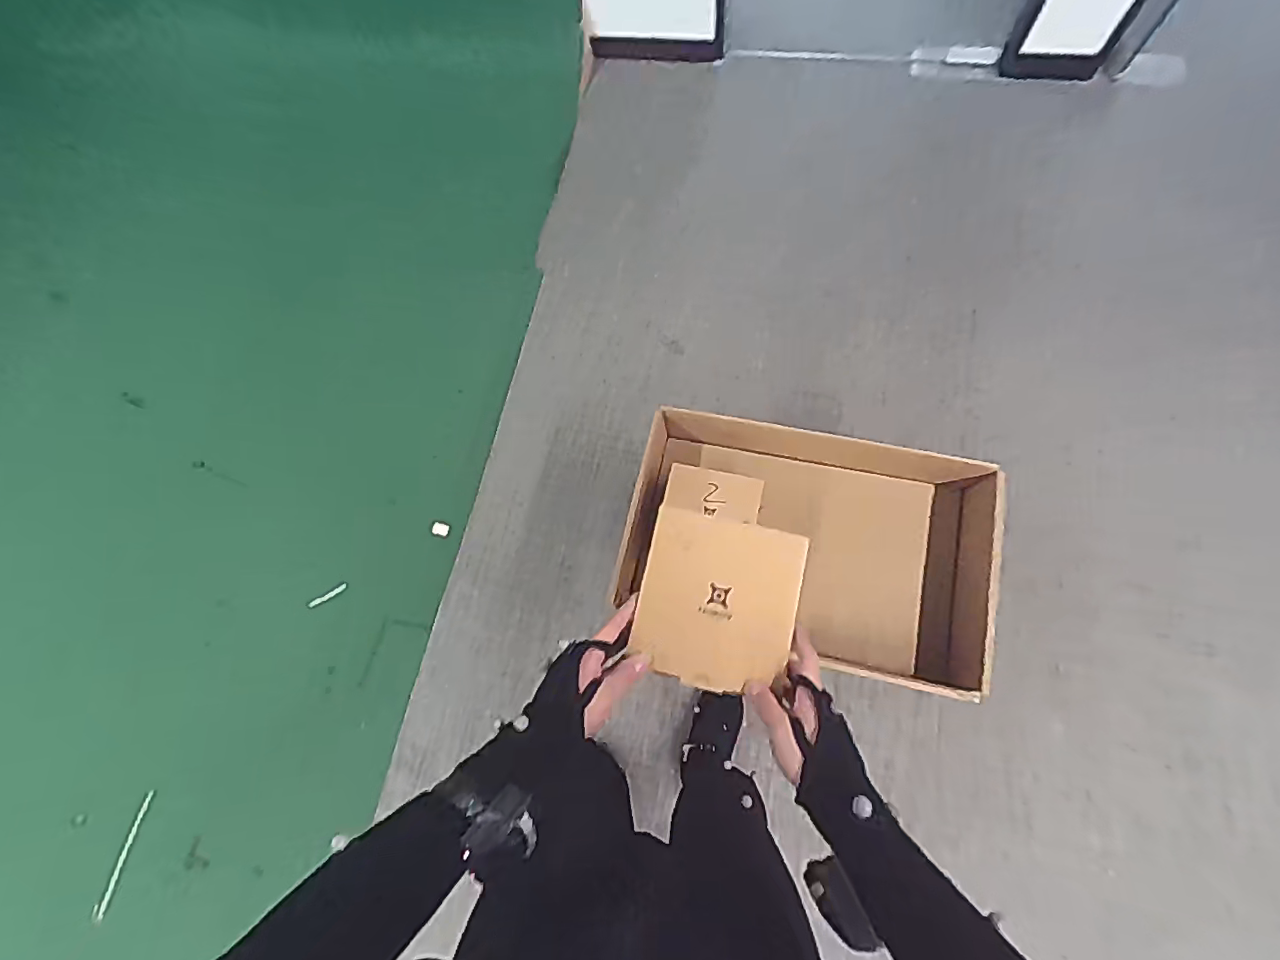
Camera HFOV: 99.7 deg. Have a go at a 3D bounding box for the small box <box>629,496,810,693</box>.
[{"bbox_3d":[0.088,0.134,0.648,0.168,0.176,0.179,12,79,5],"label":"small box"}]
